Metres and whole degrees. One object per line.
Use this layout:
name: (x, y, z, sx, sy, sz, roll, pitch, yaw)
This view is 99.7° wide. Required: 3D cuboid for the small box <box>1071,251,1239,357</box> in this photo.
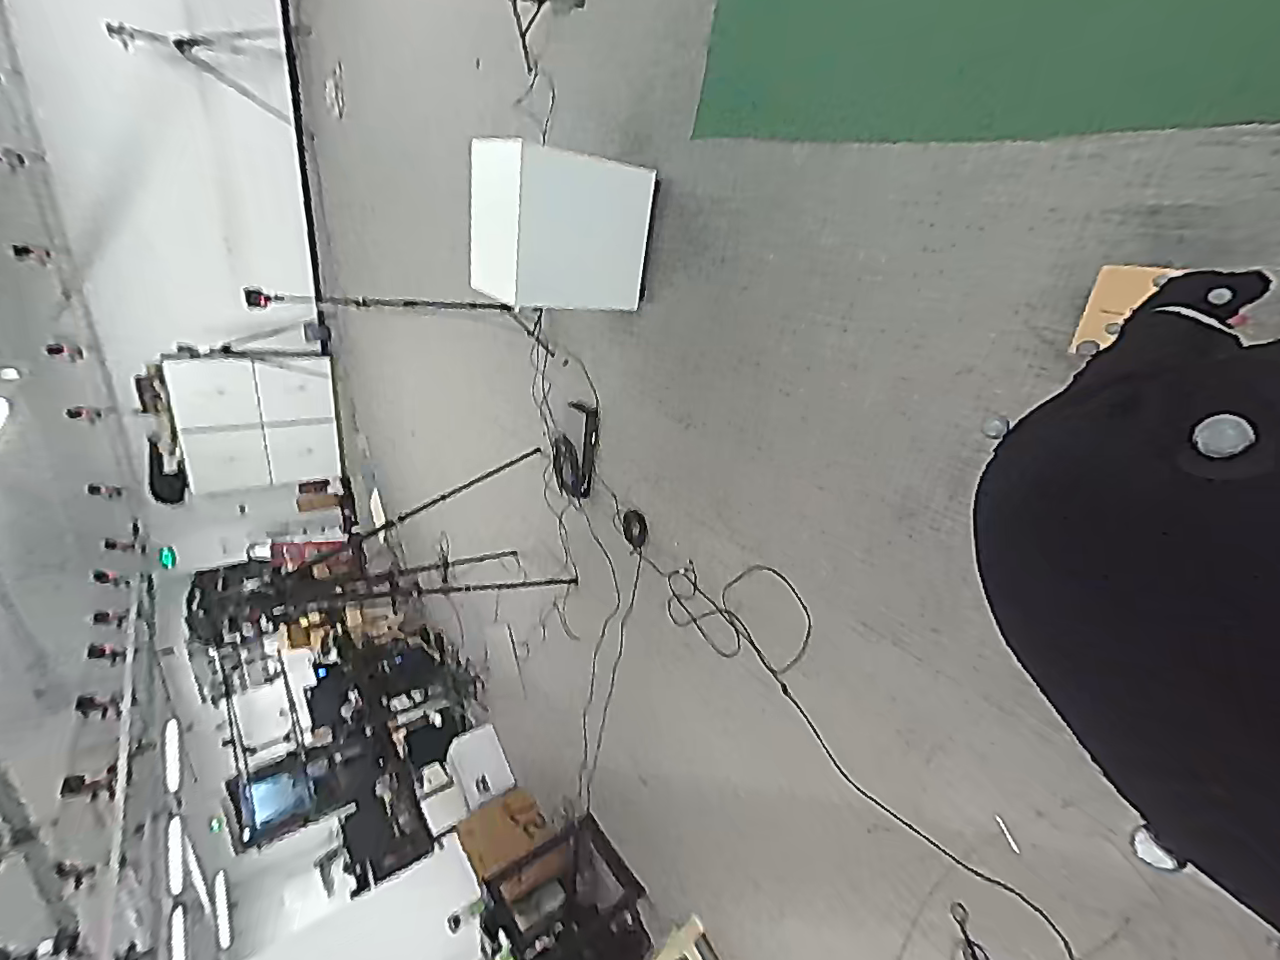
small box: (0.978, -0.337, 1.028, 0.179, 0.176, 0.168, 30, 123, 45)
